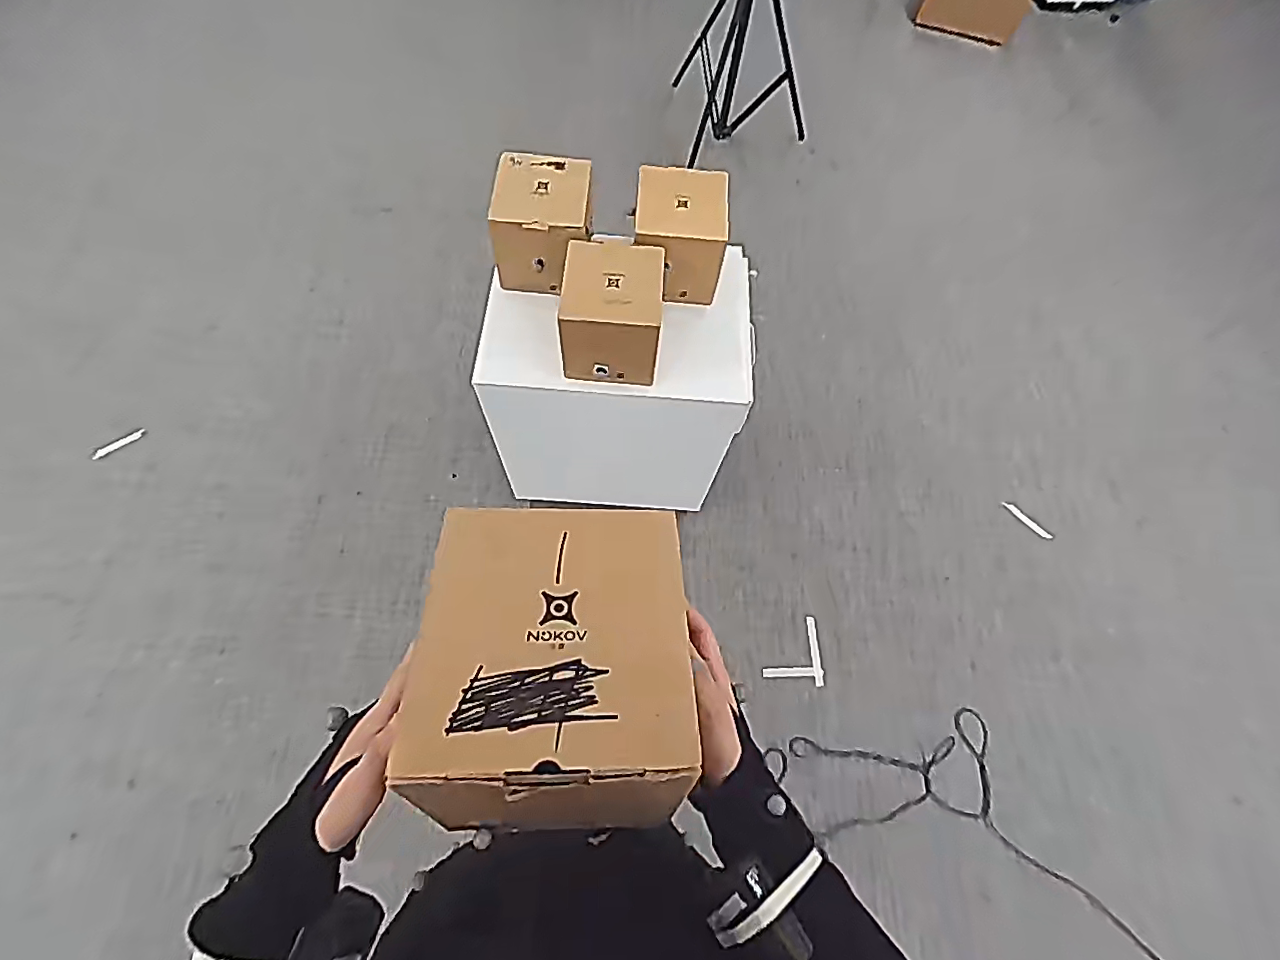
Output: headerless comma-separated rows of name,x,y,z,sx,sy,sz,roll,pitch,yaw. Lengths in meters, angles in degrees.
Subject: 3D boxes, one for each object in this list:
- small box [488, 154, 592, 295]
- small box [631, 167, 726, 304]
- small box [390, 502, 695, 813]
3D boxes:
small box,-0.180,-0.477,1.028,0.168,0.176,0.179,4,68,-3
small box,0.070,-0.464,1.042,0.168,0.176,0.179,4,66,-2
small box,-0.057,0.135,0.399,0.168,0.176,0.179,1,49,-5
